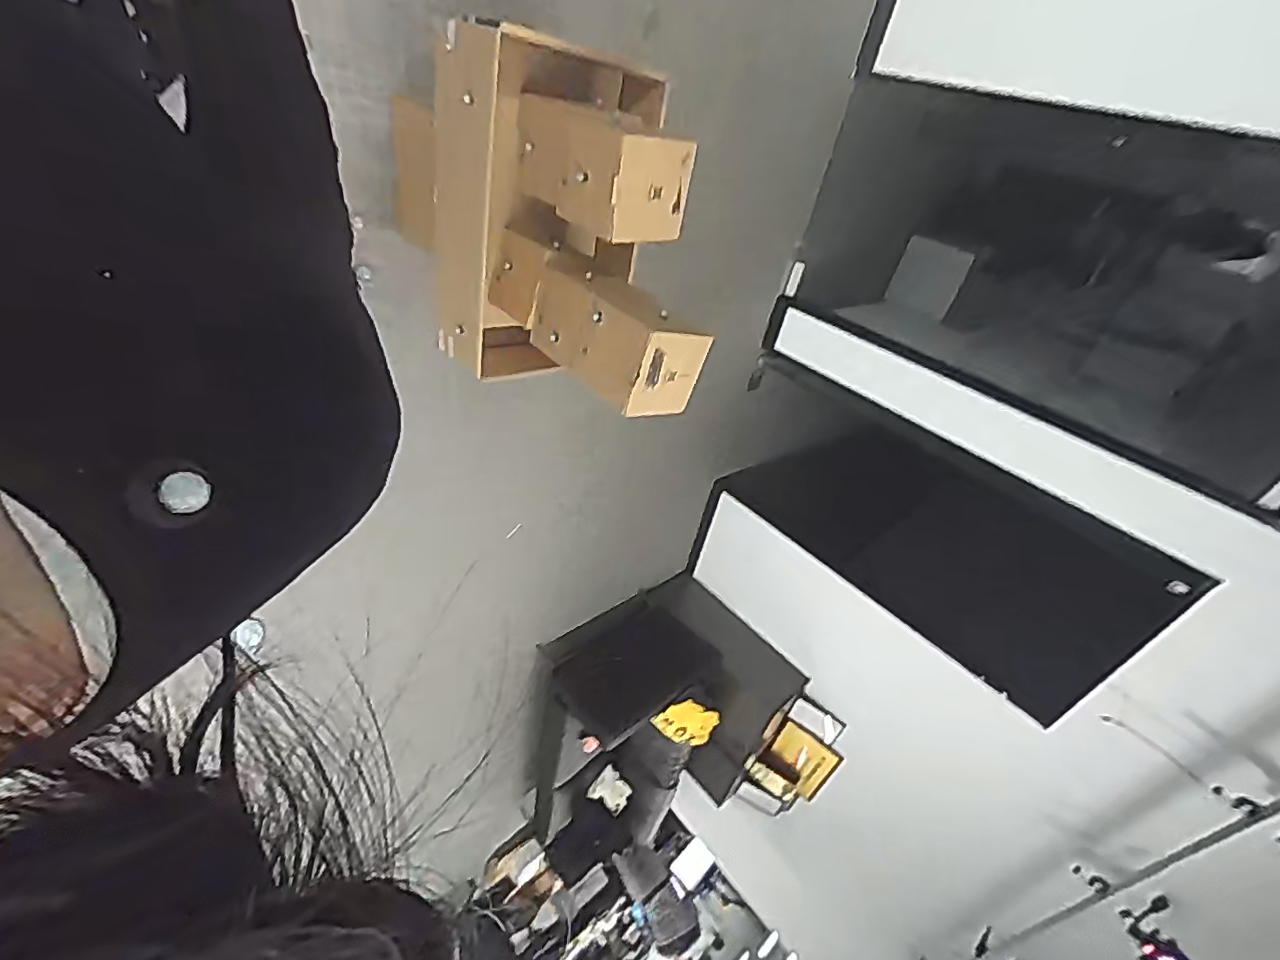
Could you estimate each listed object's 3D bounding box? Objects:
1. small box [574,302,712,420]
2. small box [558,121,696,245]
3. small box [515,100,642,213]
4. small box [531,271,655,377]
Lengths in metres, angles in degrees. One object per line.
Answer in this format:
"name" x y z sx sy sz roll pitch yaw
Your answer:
"small box" -0.001 -0.230 1.042 0.179 0.176 0.168 -11 132 -47
"small box" -0.031 -0.540 0.989 0.179 0.176 0.168 -21 139 -37
"small box" -0.126 -0.640 1.079 0.179 0.176 0.168 -22 138 -38
"small box" -0.104 -0.324 1.128 0.179 0.176 0.168 -13 134 -44
